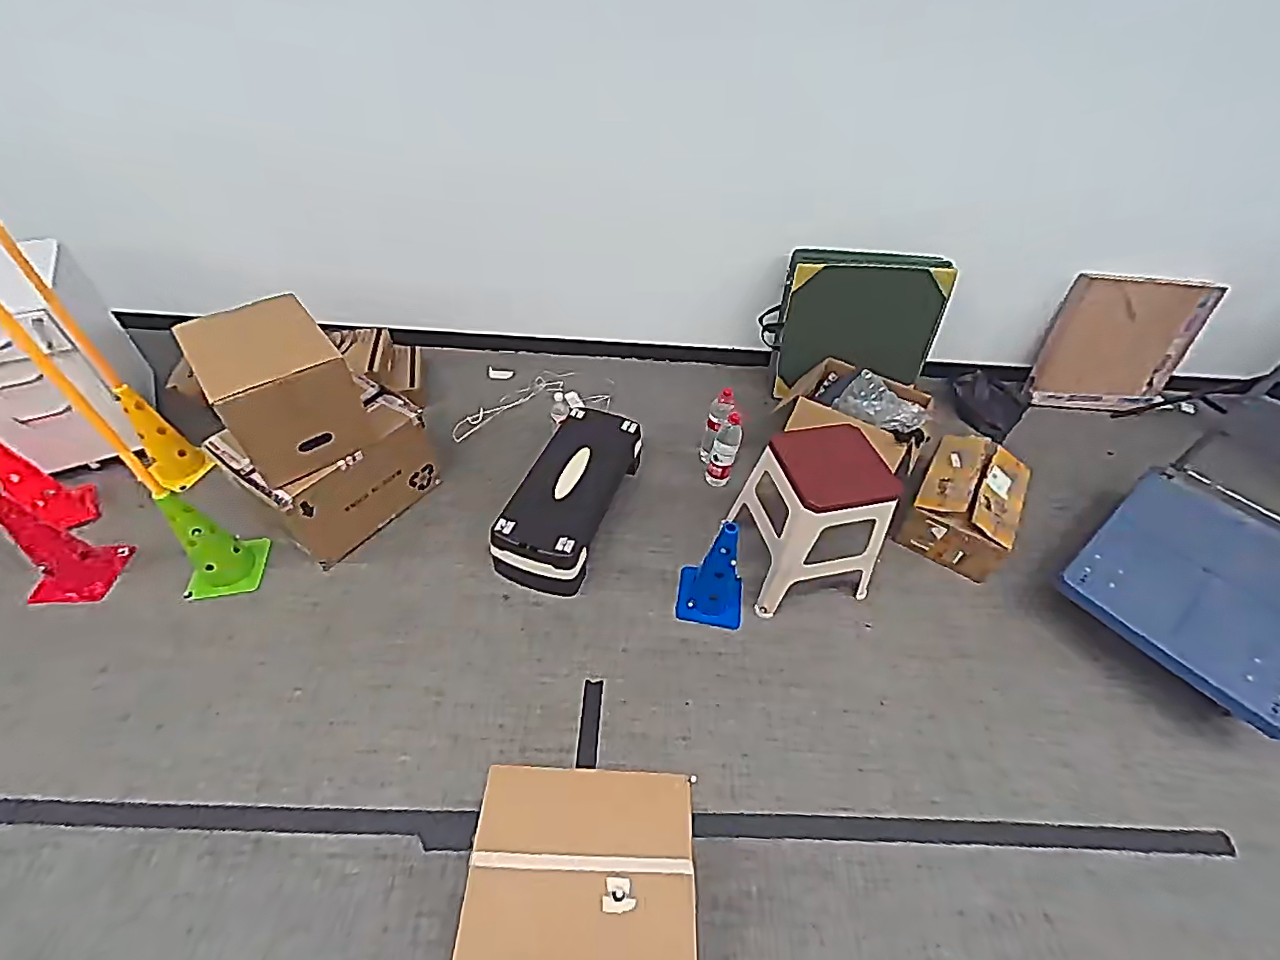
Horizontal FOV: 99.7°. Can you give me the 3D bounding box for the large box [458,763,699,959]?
[{"bbox_3d":[-0.112,0.791,1.090,0.408,0.320,0.320,5,47,-3],"label":"large box"}]
